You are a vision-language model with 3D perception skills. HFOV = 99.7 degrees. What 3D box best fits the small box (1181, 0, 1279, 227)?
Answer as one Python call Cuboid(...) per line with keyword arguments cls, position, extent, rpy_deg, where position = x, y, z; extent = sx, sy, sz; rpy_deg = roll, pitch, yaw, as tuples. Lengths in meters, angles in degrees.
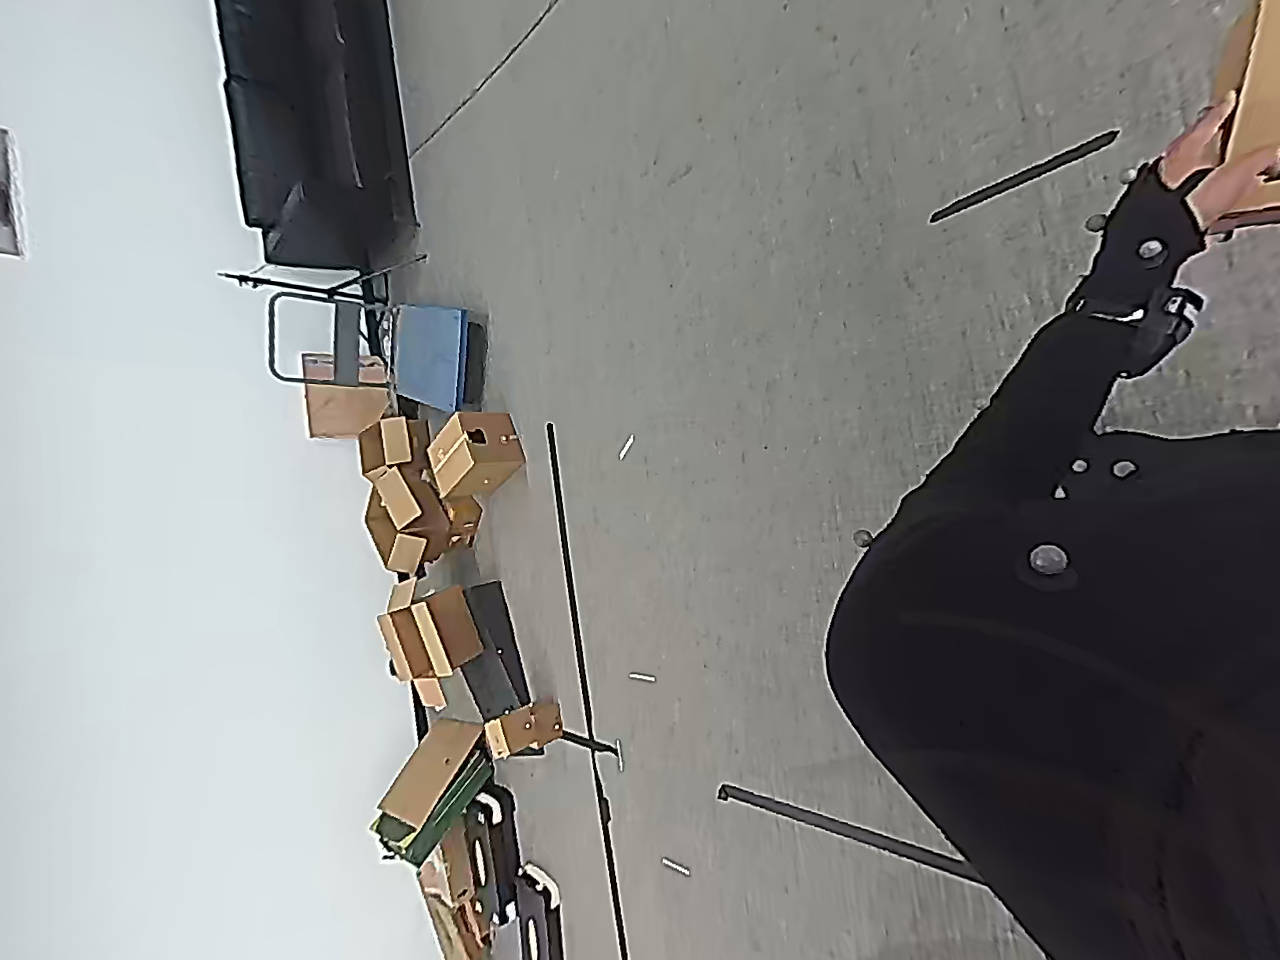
Cuboid(cls="small box", position=(0.592, -0.317, 0.453), extent=(0.168, 0.176, 0.179), rpy_deg=(10, 111, 36))
